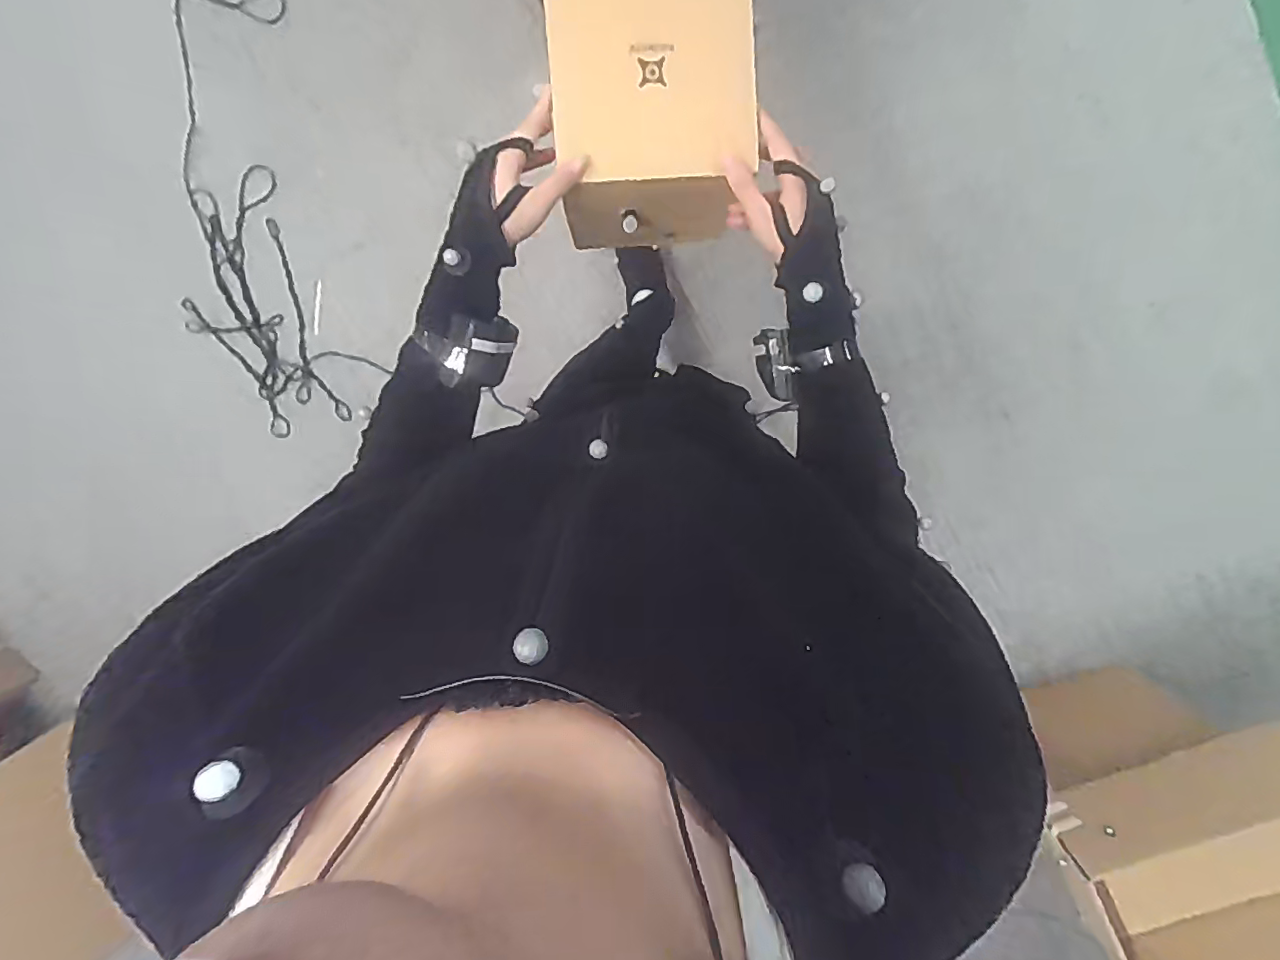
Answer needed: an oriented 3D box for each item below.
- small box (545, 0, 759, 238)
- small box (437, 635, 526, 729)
[{"bbox_3d":[0.009,-0.338,0.499,0.168,0.176,0.179,-3,94,-1],"label":"small box"},{"bbox_3d":[-0.468,0.589,1.607,0.168,0.176,0.179,-29,101,11],"label":"small box"}]
